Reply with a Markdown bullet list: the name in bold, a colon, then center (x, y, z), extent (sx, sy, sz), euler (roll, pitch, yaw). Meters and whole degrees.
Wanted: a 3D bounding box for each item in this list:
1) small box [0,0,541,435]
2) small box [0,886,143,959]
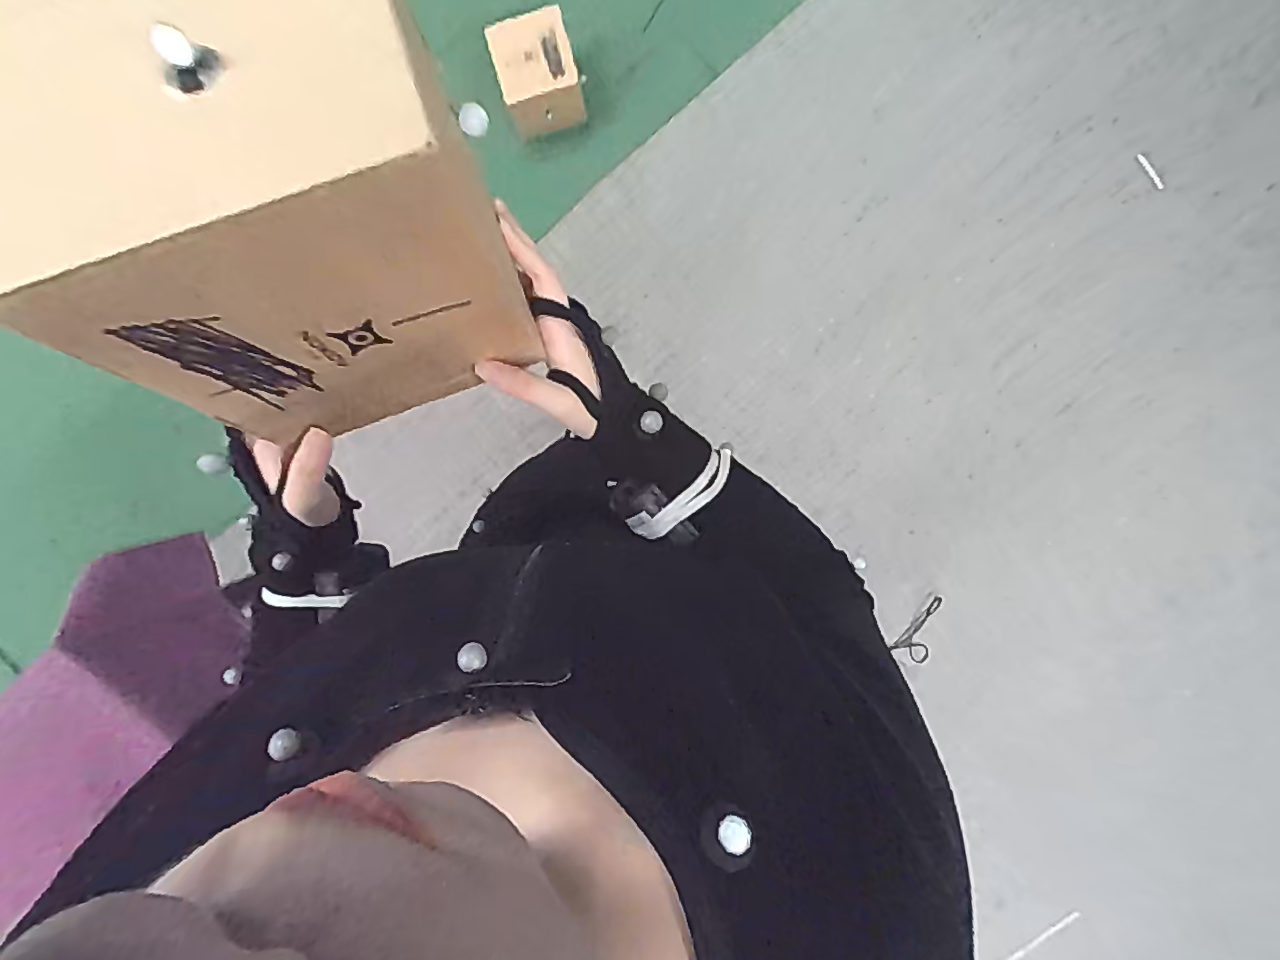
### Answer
- **small box**: center (-0.174, -0.151, 0.292), extent (0.179, 0.168, 0.176), euler (-19, 75, -1)
- **small box**: center (-0.699, 0.604, 0.587), extent (0.179, 0.176, 0.168), euler (-40, 95, 5)
